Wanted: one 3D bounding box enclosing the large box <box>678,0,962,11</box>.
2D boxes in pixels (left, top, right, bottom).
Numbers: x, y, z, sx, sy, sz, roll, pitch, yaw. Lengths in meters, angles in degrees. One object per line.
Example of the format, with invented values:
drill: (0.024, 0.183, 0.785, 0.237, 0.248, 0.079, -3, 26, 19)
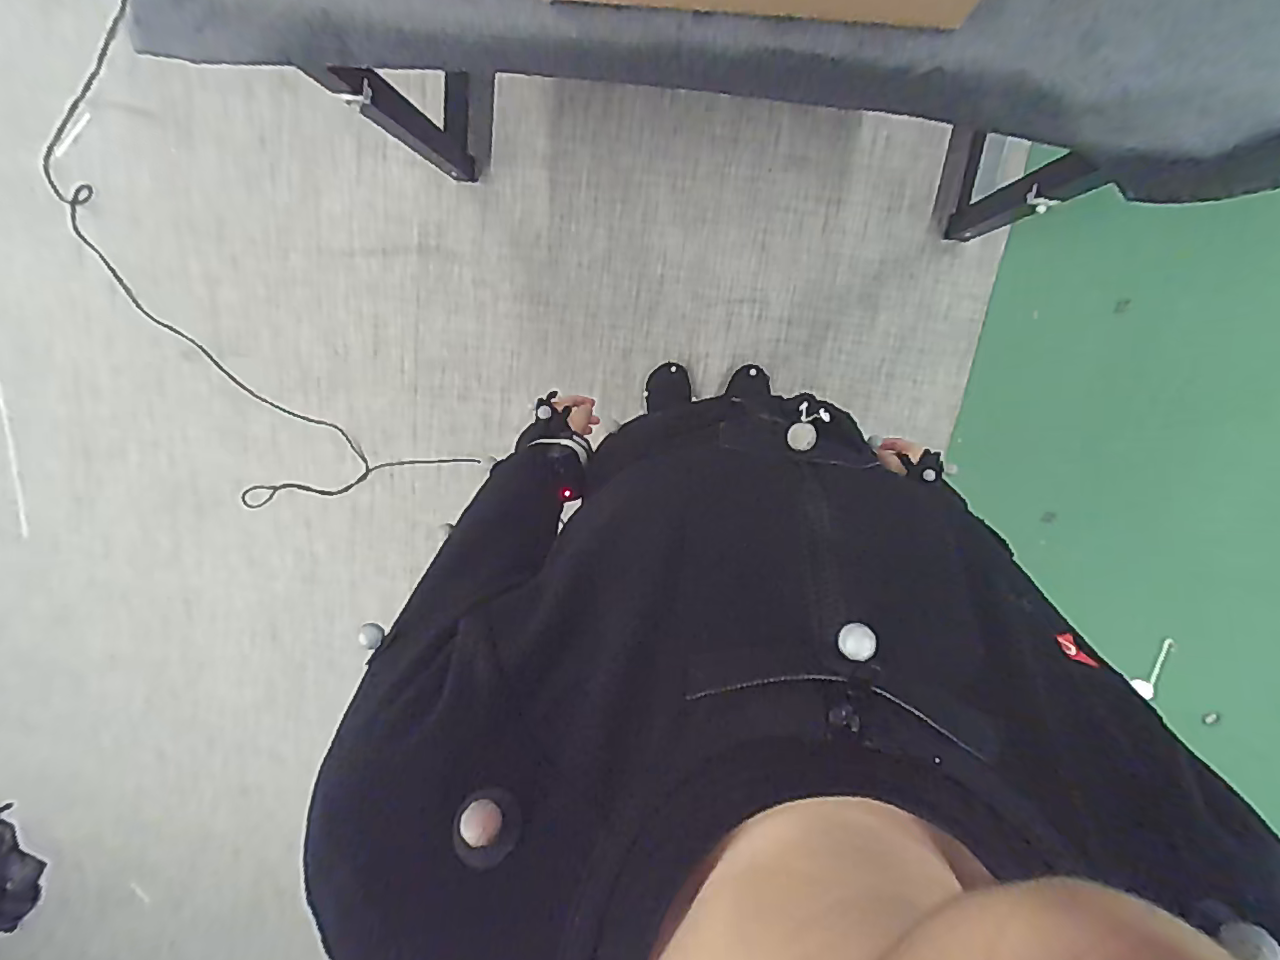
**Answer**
large box: (0.102, -0.574, 0.343, 0.408, 0.320, 0.320, 6, 103, 3)
